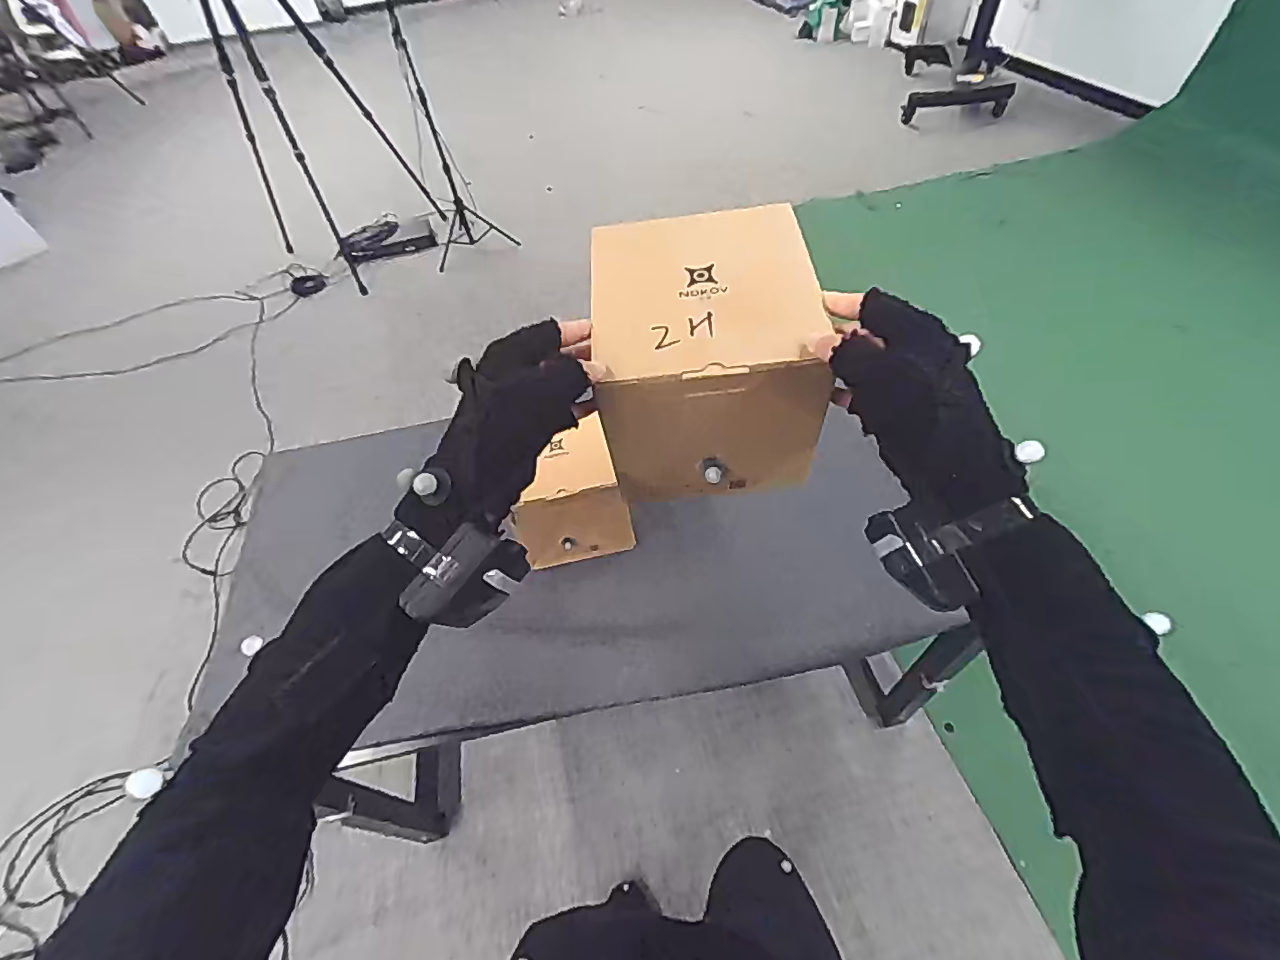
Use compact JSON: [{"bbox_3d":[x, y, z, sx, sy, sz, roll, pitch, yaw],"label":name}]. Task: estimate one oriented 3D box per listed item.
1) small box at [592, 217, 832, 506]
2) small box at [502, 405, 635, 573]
[{"bbox_3d":[0.053,-0.097,0.476,0.168,0.176,0.179,-6,58,4],"label":"small box"},{"bbox_3d":[-0.108,0.016,0.832,0.168,0.176,0.179,-12,51,-3],"label":"small box"}]
